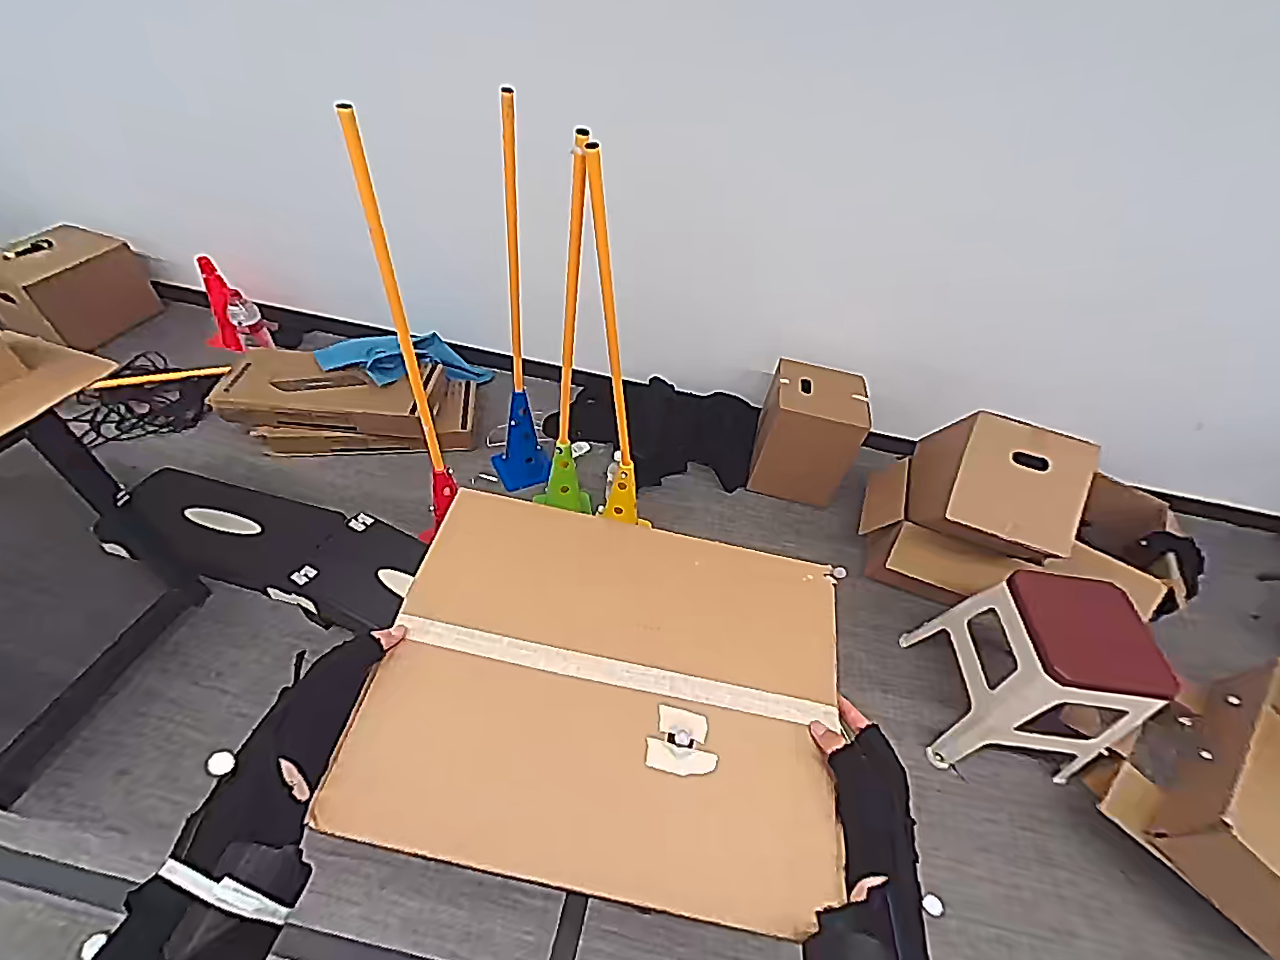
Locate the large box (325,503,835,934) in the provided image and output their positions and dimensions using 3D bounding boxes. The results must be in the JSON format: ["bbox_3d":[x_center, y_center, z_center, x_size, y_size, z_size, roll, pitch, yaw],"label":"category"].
[{"bbox_3d":[-0.041,0.268,0.614,0.408,0.320,0.320,12,54,1],"label":"large box"}]
